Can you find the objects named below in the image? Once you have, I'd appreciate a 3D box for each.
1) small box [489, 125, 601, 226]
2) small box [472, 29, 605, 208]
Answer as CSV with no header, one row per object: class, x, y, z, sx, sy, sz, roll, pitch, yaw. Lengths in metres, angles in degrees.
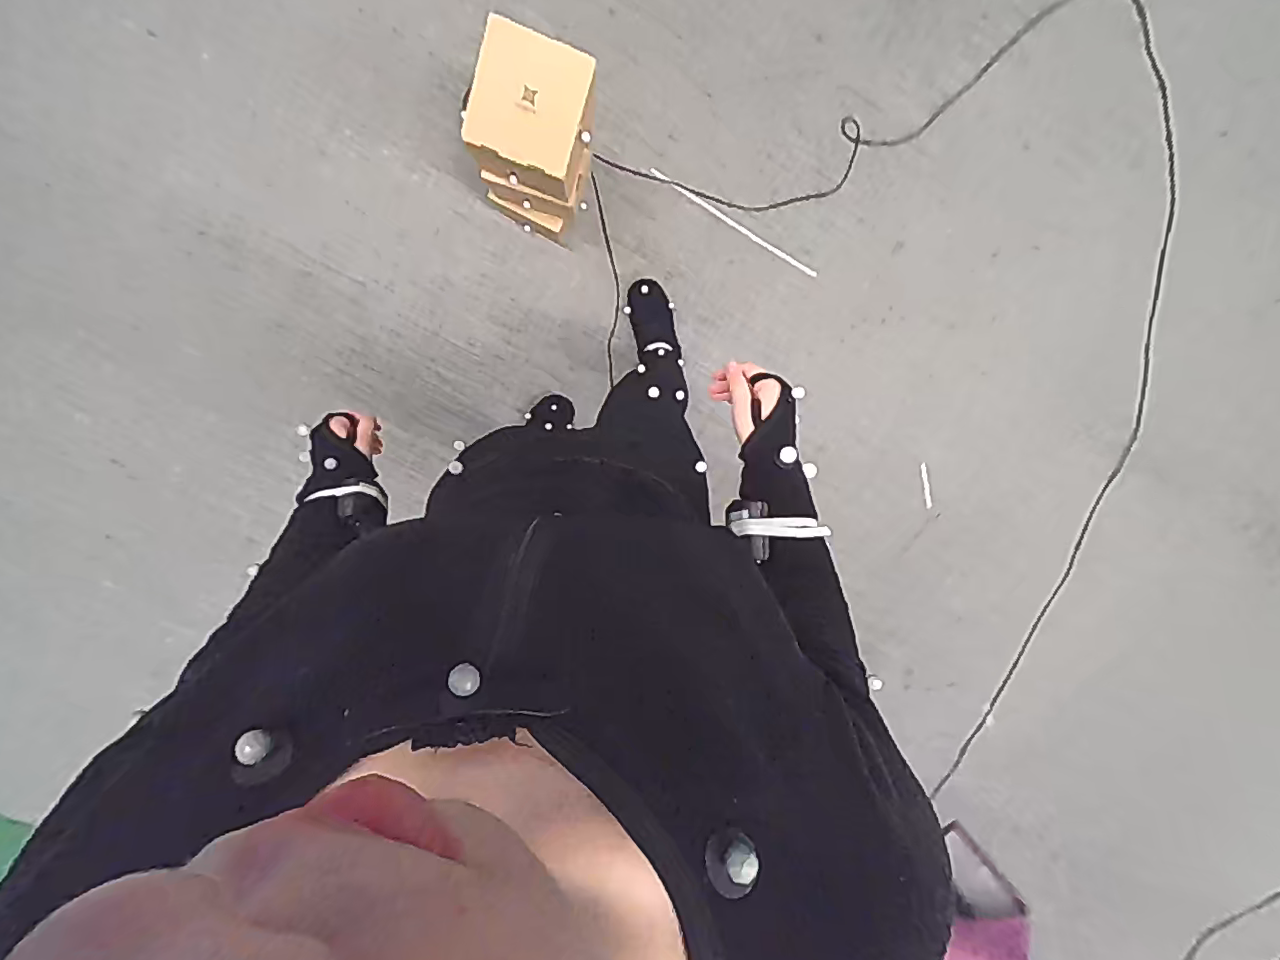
small box,-0.179,-0.620,1.072,0.179,0.176,0.168,15,104,-6
small box,-0.165,-0.591,0.911,0.168,0.176,0.179,18,104,-8
